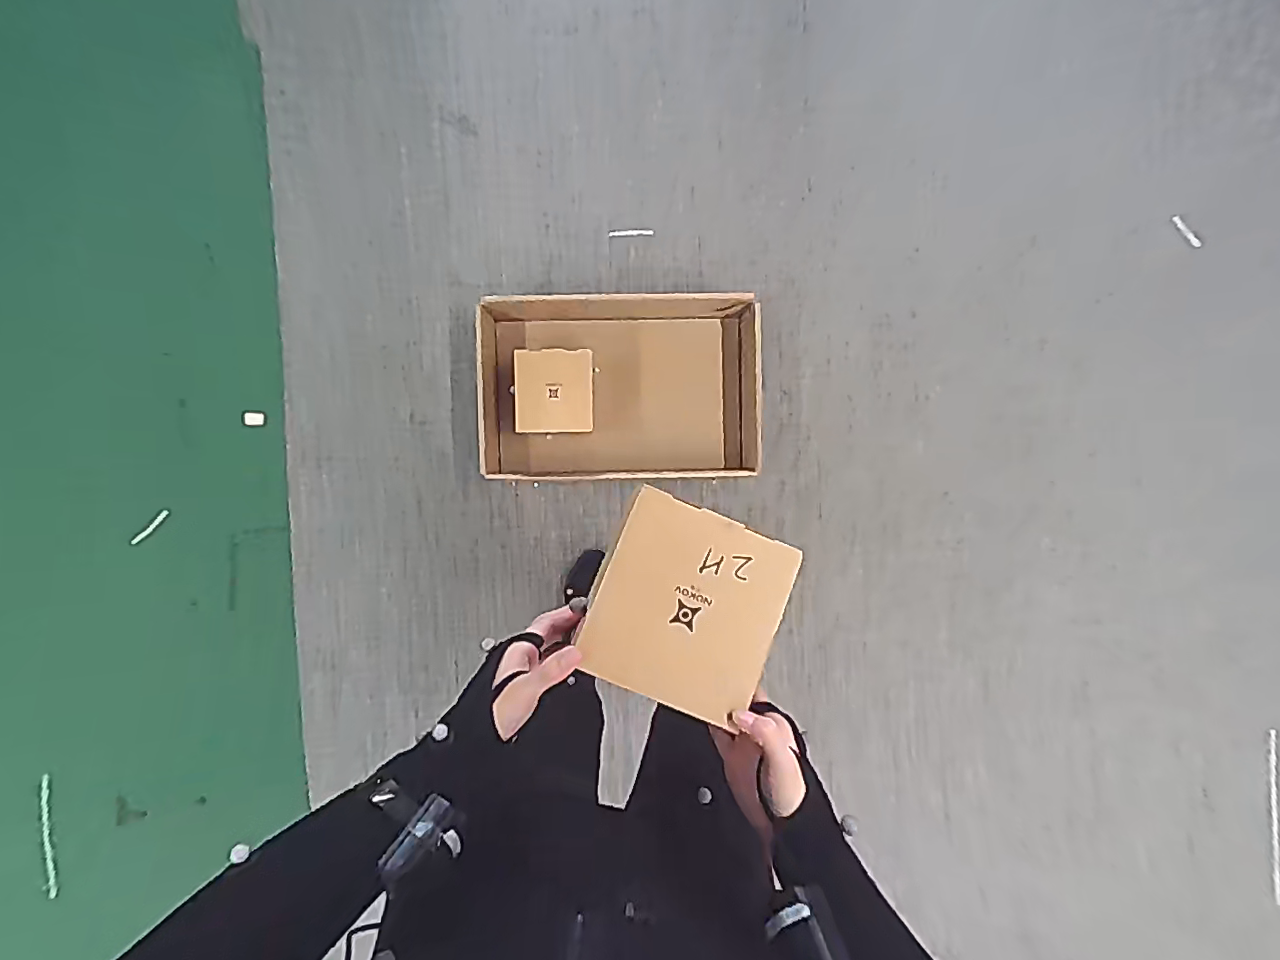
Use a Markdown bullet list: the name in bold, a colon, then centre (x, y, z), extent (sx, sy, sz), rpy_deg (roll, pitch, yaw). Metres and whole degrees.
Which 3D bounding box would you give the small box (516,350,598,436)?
- **small box**: centre (-0.182, -0.190, 1.221), extent (0.168, 0.176, 0.179), rpy_deg (-1, 91, -2)

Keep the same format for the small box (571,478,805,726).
- **small box**: centre (0.039, 0.118, 0.564), extent (0.168, 0.176, 0.179), rpy_deg (23, 81, -3)
